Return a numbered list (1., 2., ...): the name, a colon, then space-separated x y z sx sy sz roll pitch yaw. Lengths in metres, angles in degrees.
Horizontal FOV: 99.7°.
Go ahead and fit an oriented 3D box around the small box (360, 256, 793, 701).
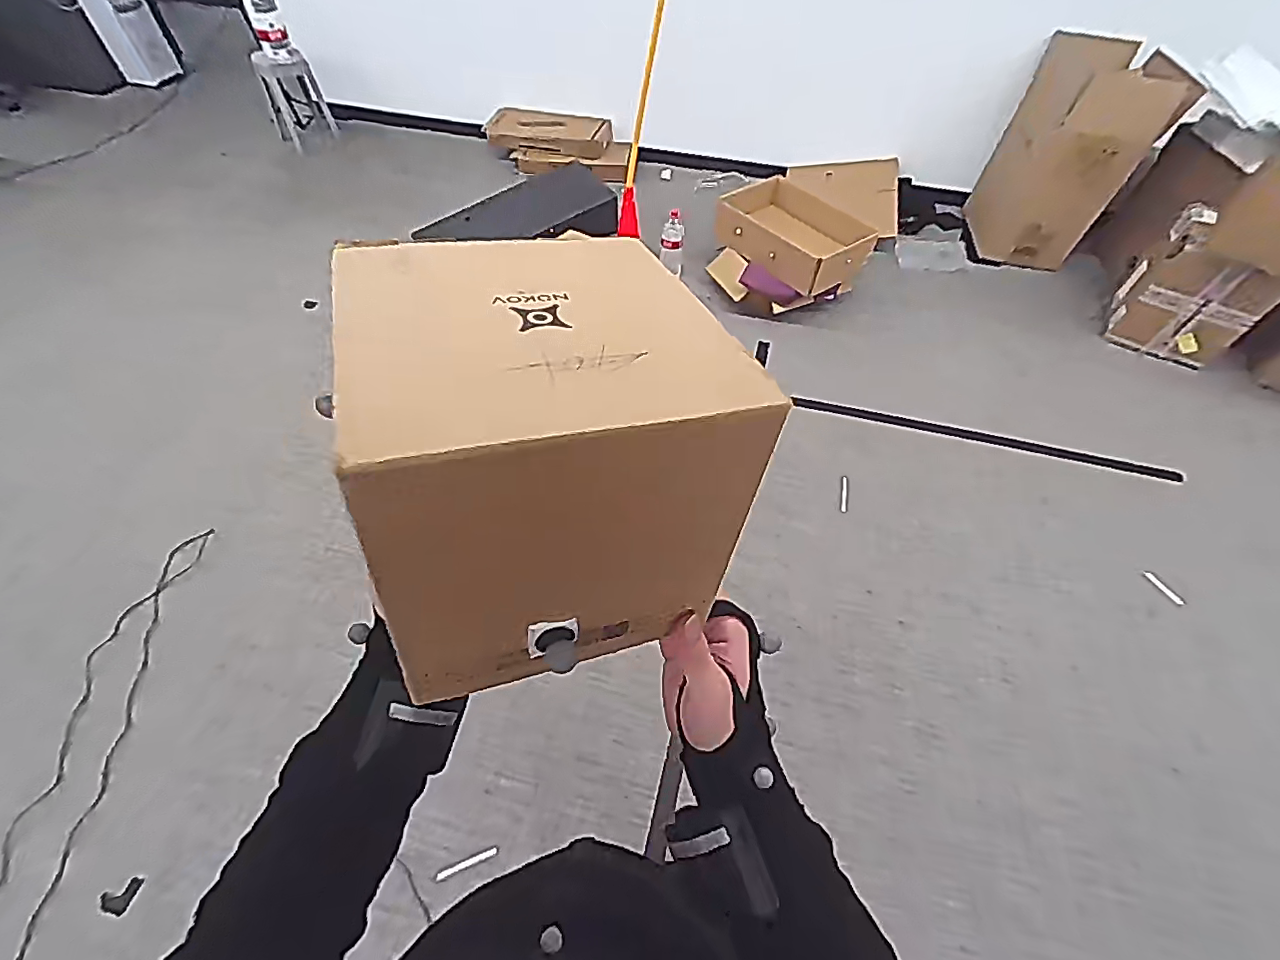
1. small box: -0.051 -0.010 0.310 0.168 0.176 0.179 -12 47 -22
